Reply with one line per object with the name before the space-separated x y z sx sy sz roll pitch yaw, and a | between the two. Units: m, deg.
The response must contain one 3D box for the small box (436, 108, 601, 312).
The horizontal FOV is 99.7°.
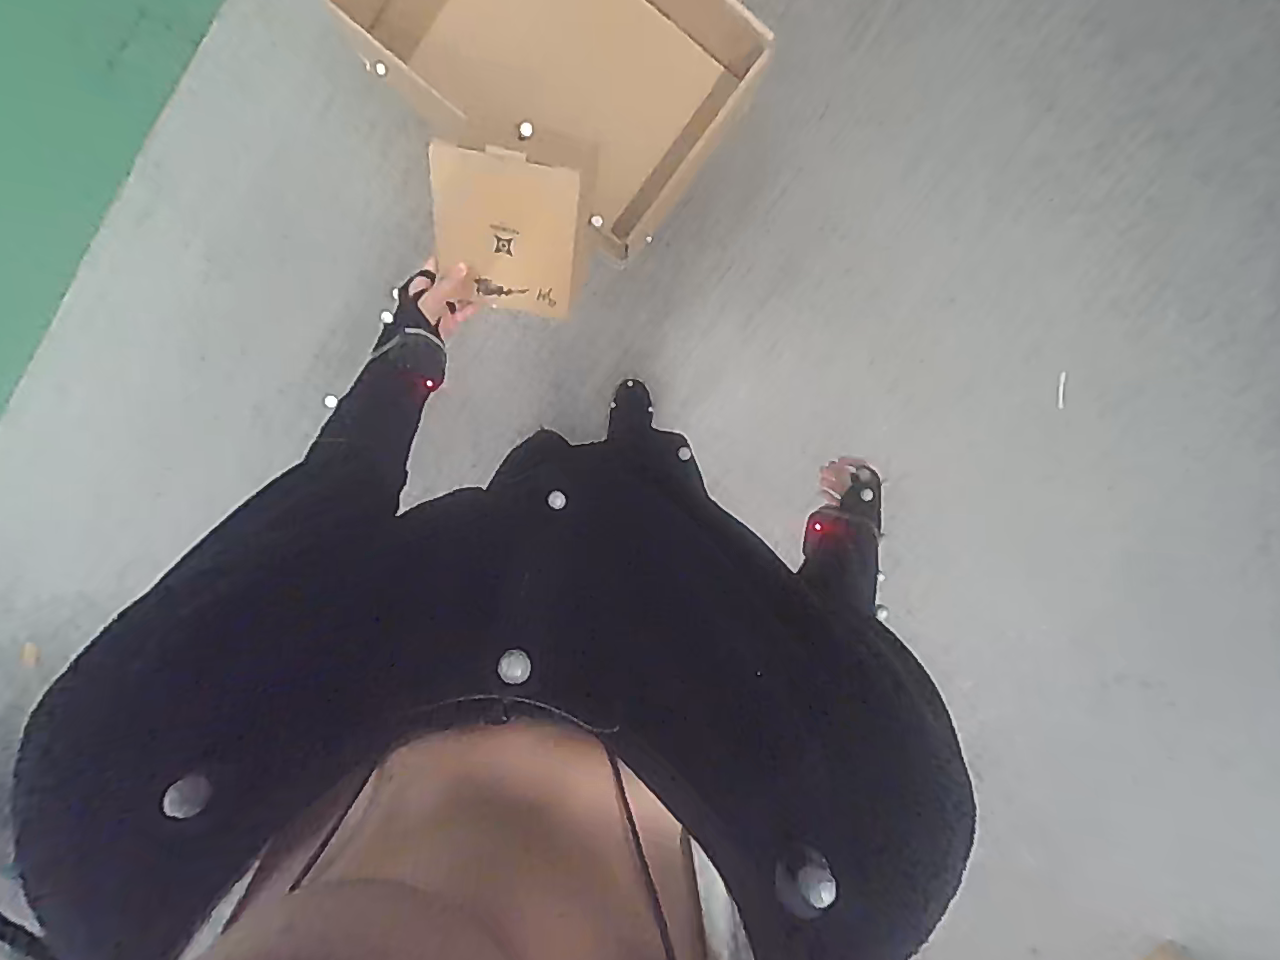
small box | -0.146 -0.343 0.682 0.168 0.176 0.179 11 132 -5
